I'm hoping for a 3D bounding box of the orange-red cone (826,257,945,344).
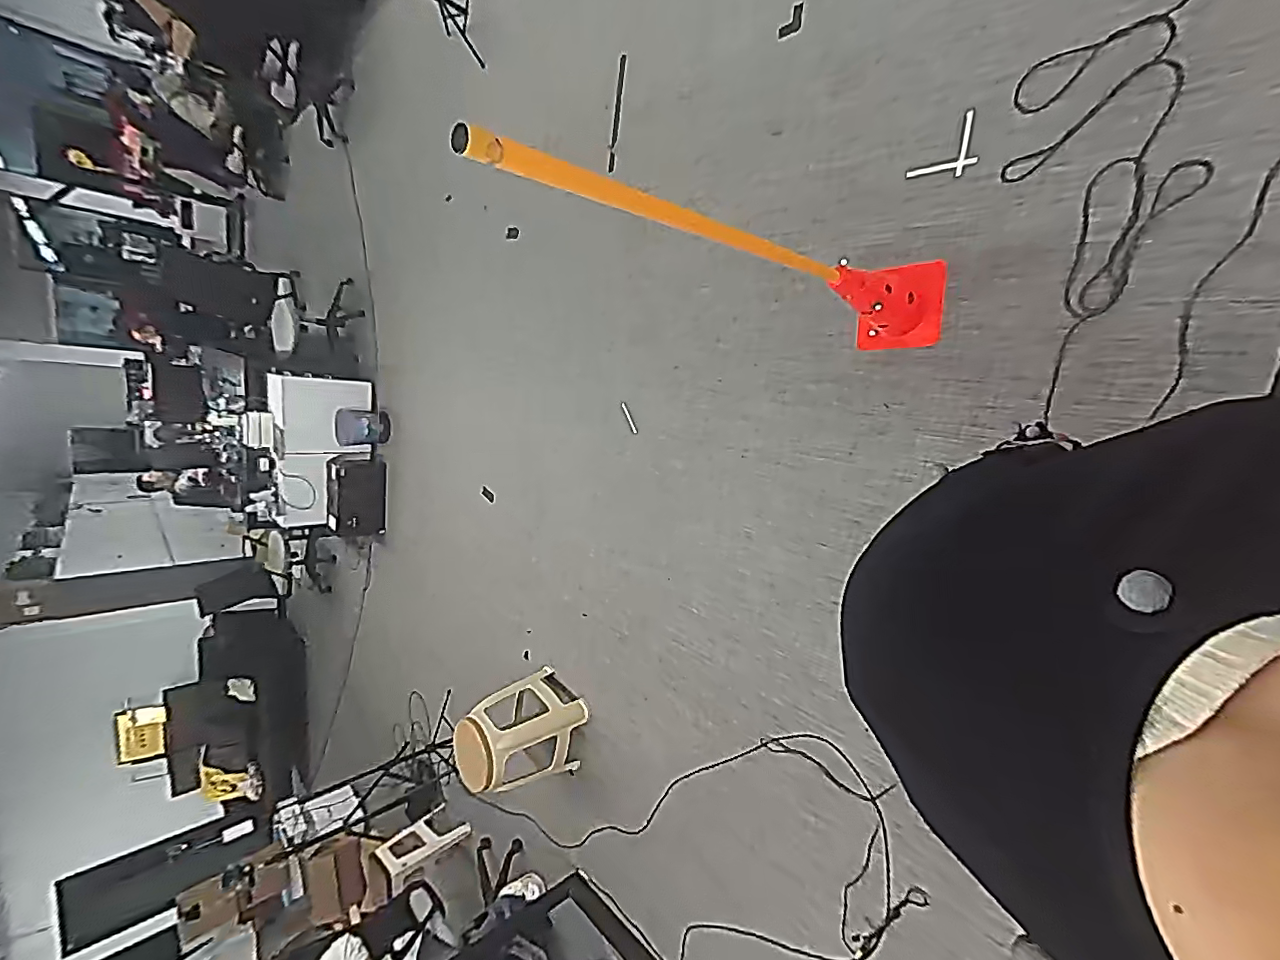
[{"bbox_3d":[0.515,-0.426,1.207,0.199,0.360,0.198,9,100,44],"label":"orange-red cone"}]
